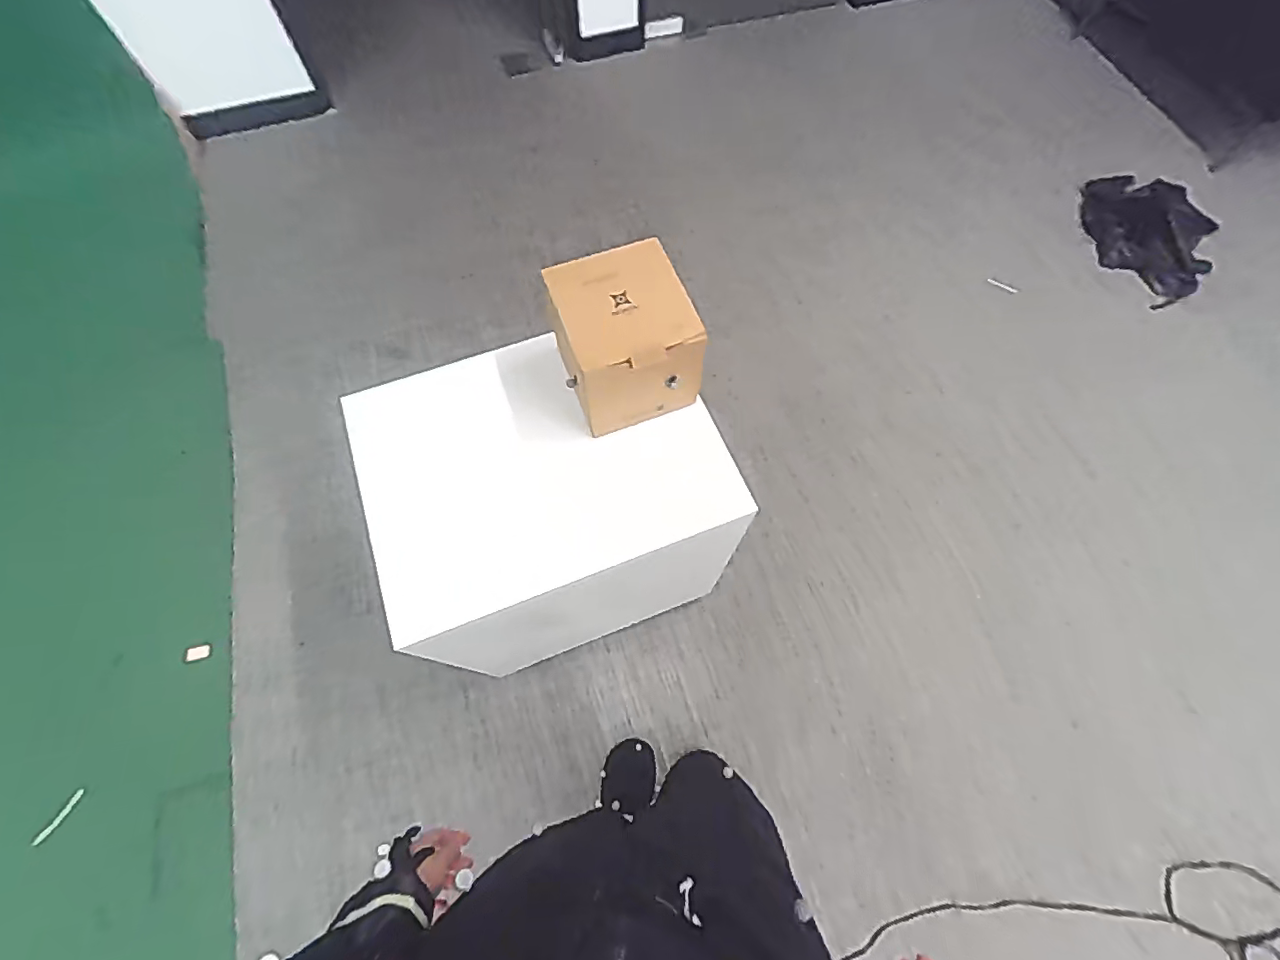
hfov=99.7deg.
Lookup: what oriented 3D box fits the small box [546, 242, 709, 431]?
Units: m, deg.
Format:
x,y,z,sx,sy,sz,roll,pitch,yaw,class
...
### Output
x,y,z,sx,sy,sz,roll,pitch,yaw,class
-0.018,-0.188,0.756,0.168,0.176,0.179,-19,67,-9,small box
